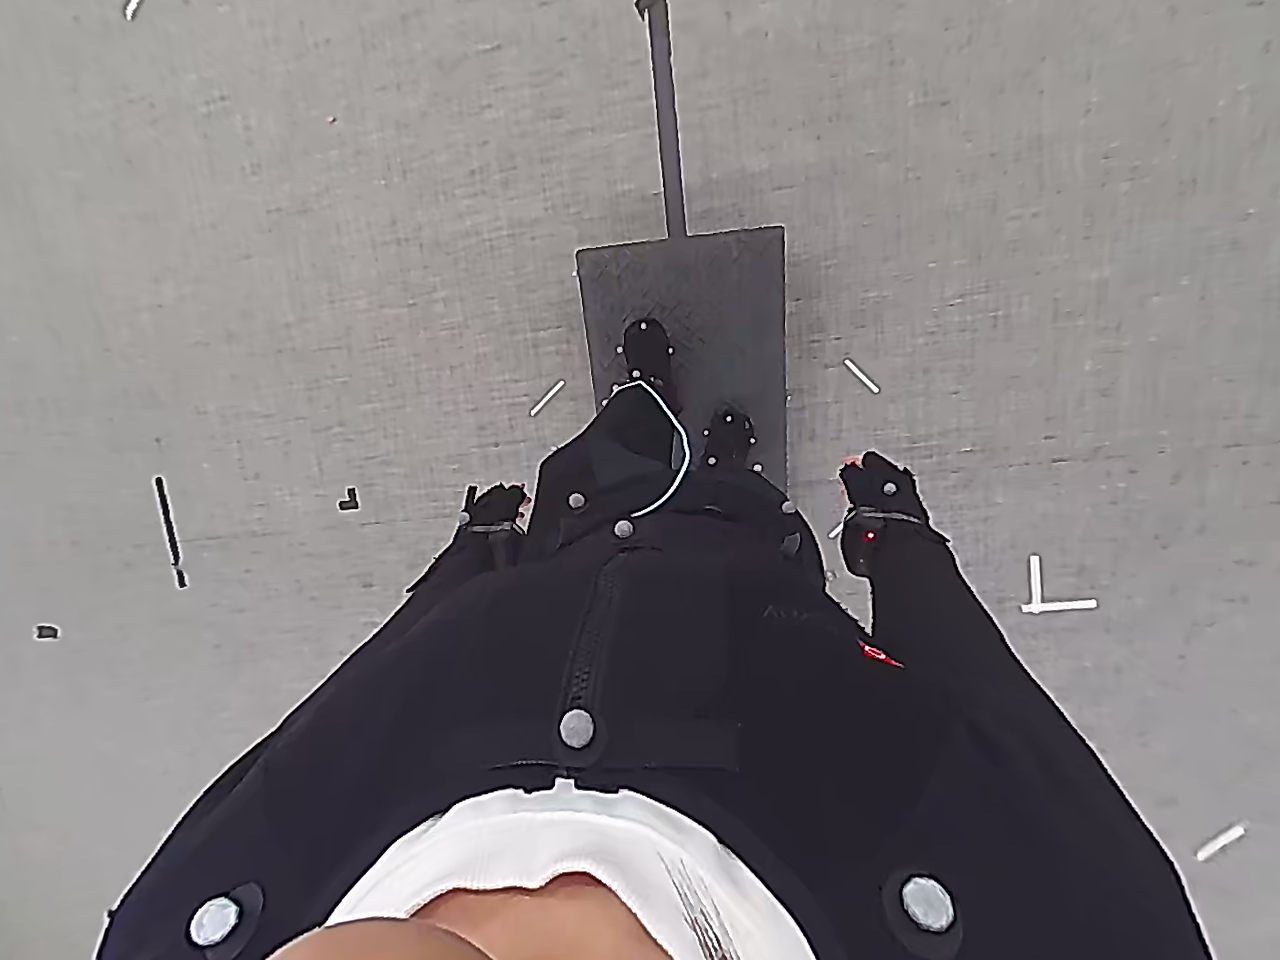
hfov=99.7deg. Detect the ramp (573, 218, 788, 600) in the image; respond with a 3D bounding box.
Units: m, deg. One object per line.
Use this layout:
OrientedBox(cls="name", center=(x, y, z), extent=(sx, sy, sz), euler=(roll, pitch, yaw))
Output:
OrientedBox(cls="ramp", center=(0.133, -0.113, 1.423), extent=(0.509, 0.206, 0.991), euler=(-4, 100, 10))
